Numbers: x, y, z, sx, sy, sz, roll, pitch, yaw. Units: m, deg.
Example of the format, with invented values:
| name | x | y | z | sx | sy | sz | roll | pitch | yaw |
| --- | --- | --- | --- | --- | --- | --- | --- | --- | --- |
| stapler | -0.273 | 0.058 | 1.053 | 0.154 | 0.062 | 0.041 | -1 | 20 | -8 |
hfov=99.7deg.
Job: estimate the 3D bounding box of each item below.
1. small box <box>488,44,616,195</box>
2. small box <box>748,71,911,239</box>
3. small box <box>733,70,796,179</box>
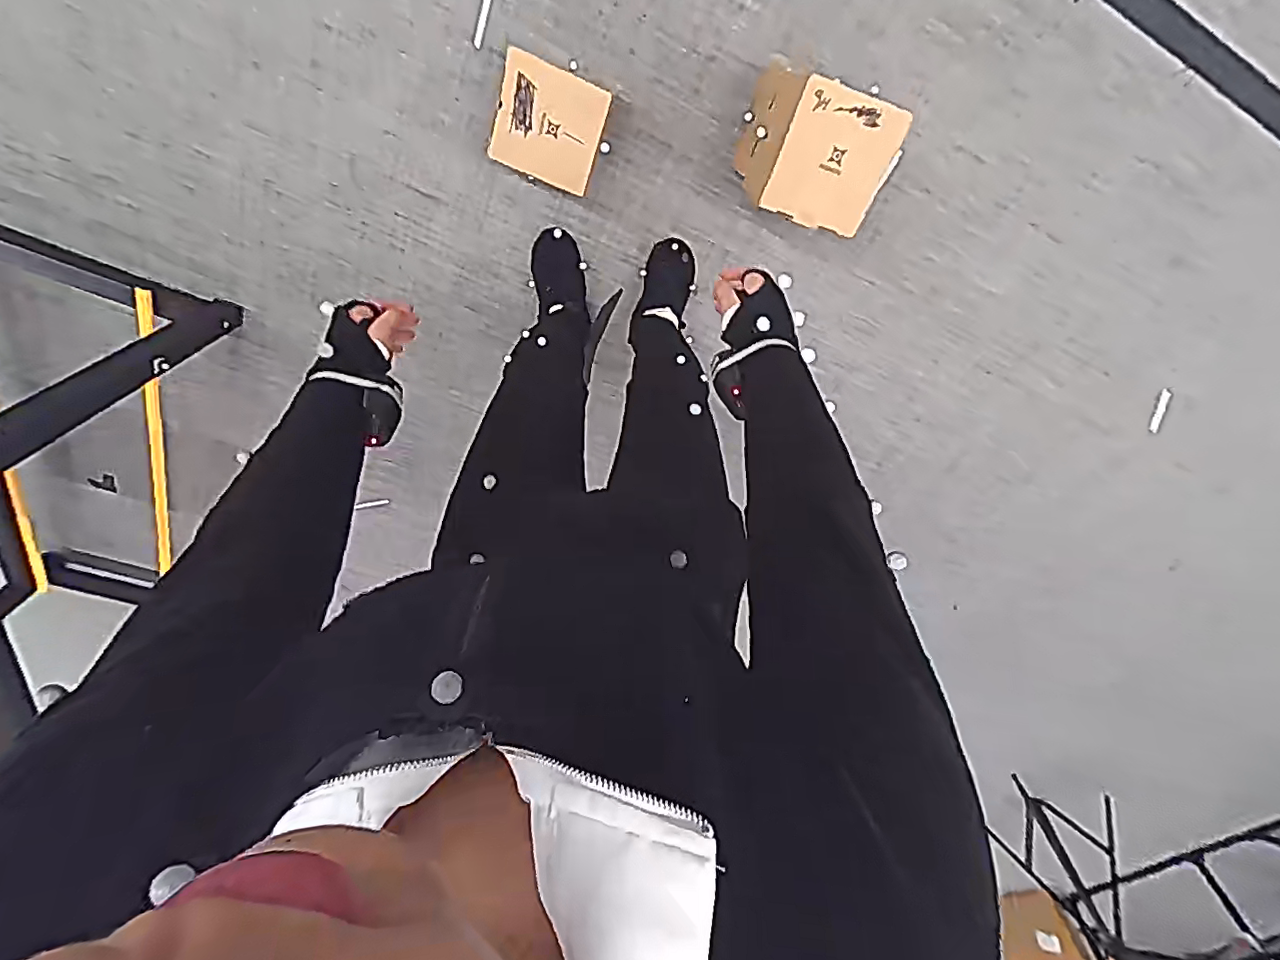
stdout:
| name | x | y | z | sx | sy | sz | roll | pitch | yaw |
| --- | --- | --- | --- | --- | --- | --- | --- | --- | --- |
| small box | -0.153 | -0.643 | 0.971 | 0.179 | 0.176 | 0.168 | 18 | 125 | -13 |
| small box | 0.283 | -0.517 | 0.859 | 0.168 | 0.176 | 0.179 | 14 | 127 | -10 |
| small box | 0.289 | -0.621 | 0.986 | 0.179 | 0.176 | 0.168 | 15 | 125 | -11 |
